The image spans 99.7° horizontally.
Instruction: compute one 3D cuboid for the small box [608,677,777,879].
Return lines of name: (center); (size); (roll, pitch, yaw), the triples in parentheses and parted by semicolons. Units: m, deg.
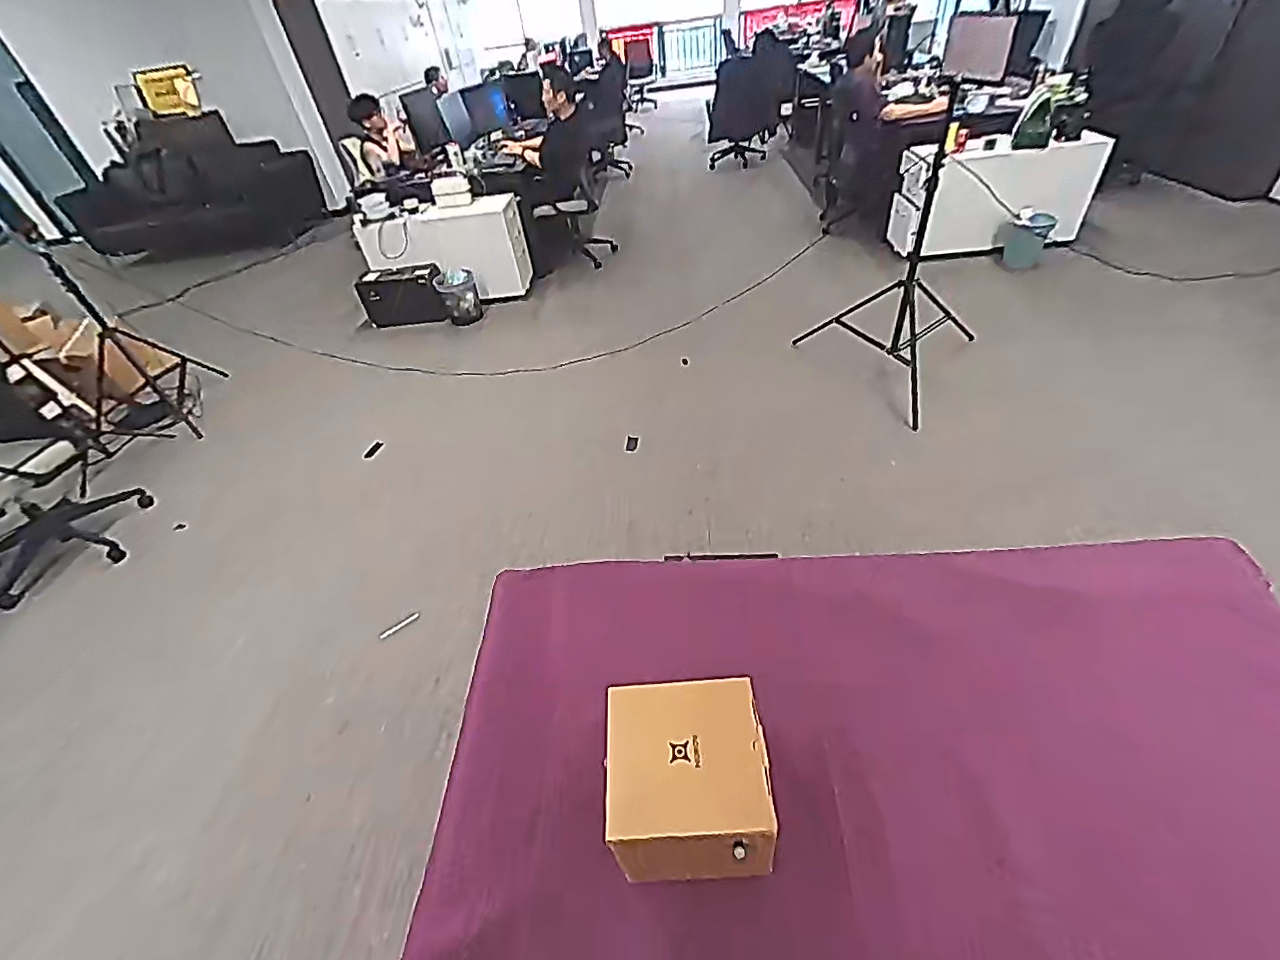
small box: (0.060, 0.362, 0.655); (0.179, 0.176, 0.168); (-6, 41, 2)
